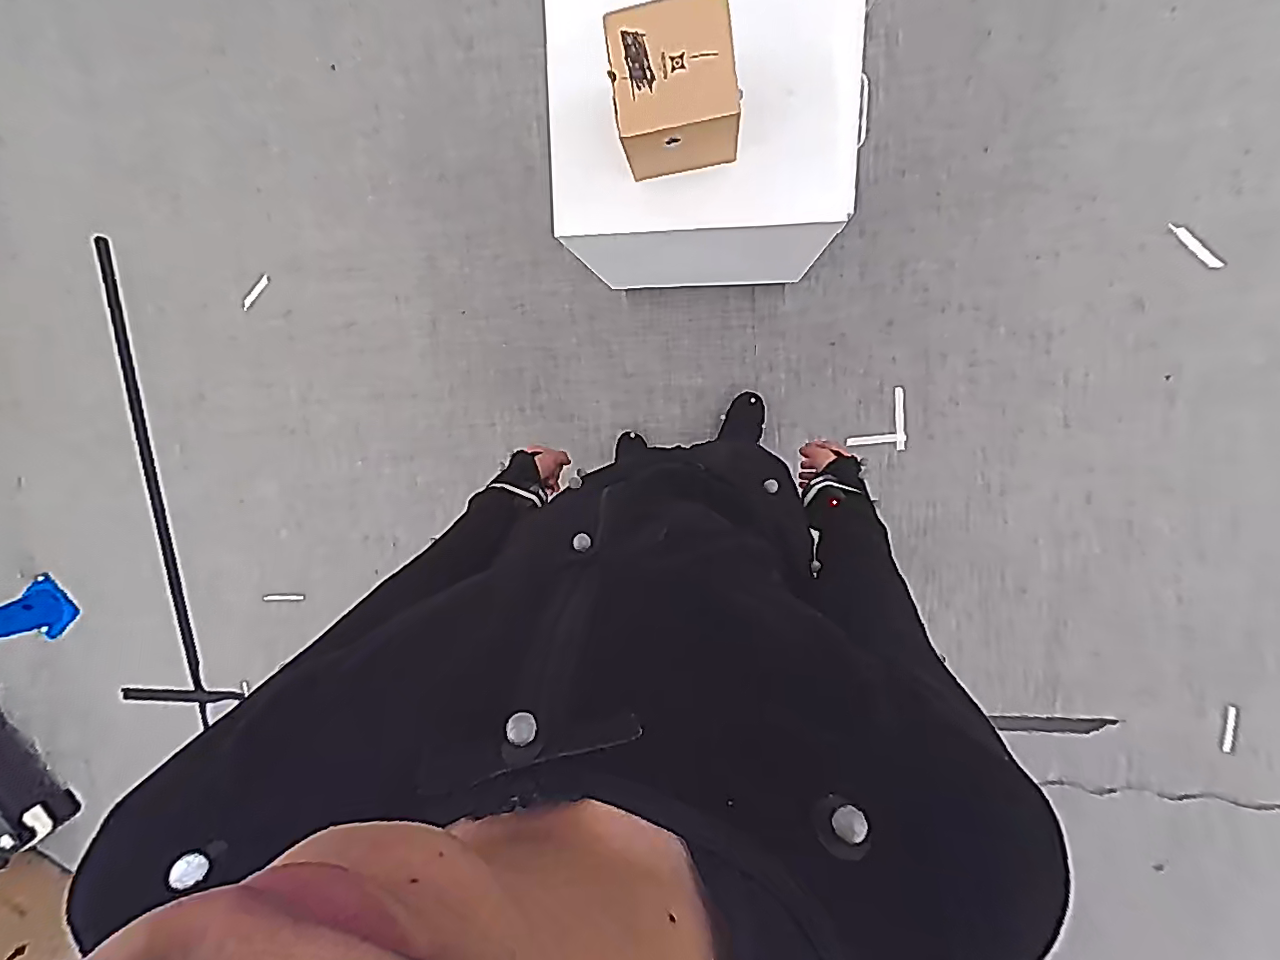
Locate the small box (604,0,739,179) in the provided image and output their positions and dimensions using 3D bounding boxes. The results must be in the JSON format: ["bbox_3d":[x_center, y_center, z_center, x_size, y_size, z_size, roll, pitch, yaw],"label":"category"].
[{"bbox_3d":[0.054,-0.590,0.831,0.179,0.176,0.168,-7,99,8],"label":"small box"}]
